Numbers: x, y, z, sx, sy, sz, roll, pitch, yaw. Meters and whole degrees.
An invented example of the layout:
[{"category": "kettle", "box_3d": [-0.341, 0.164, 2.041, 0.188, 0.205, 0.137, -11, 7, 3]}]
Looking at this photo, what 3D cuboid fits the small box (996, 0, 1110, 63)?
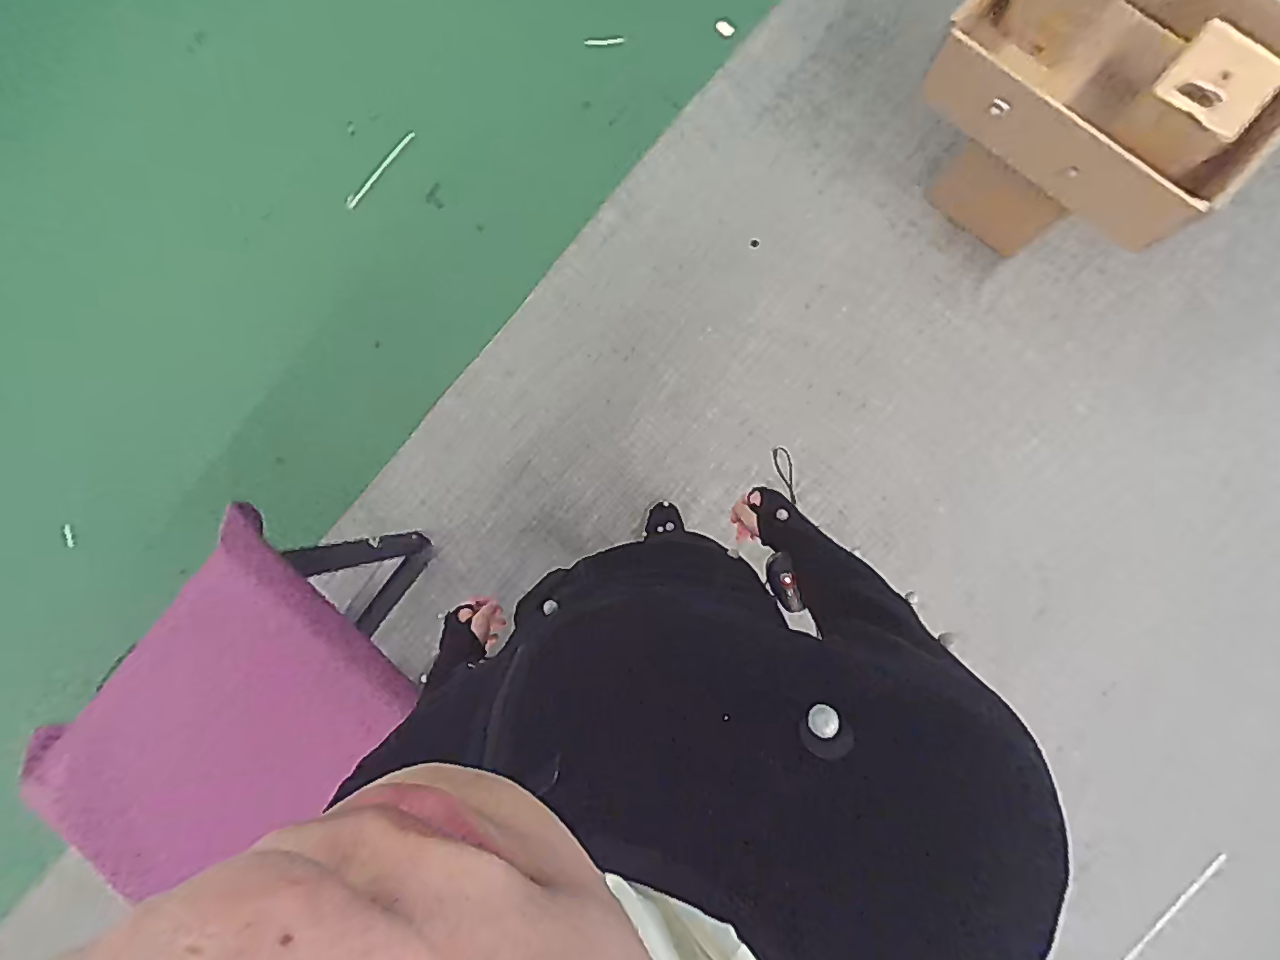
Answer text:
[{"category": "small box", "box_3d": [0.873, -1.011, 1.086, 0.168, 0.176, 0.179, 43, 92, 4]}]
